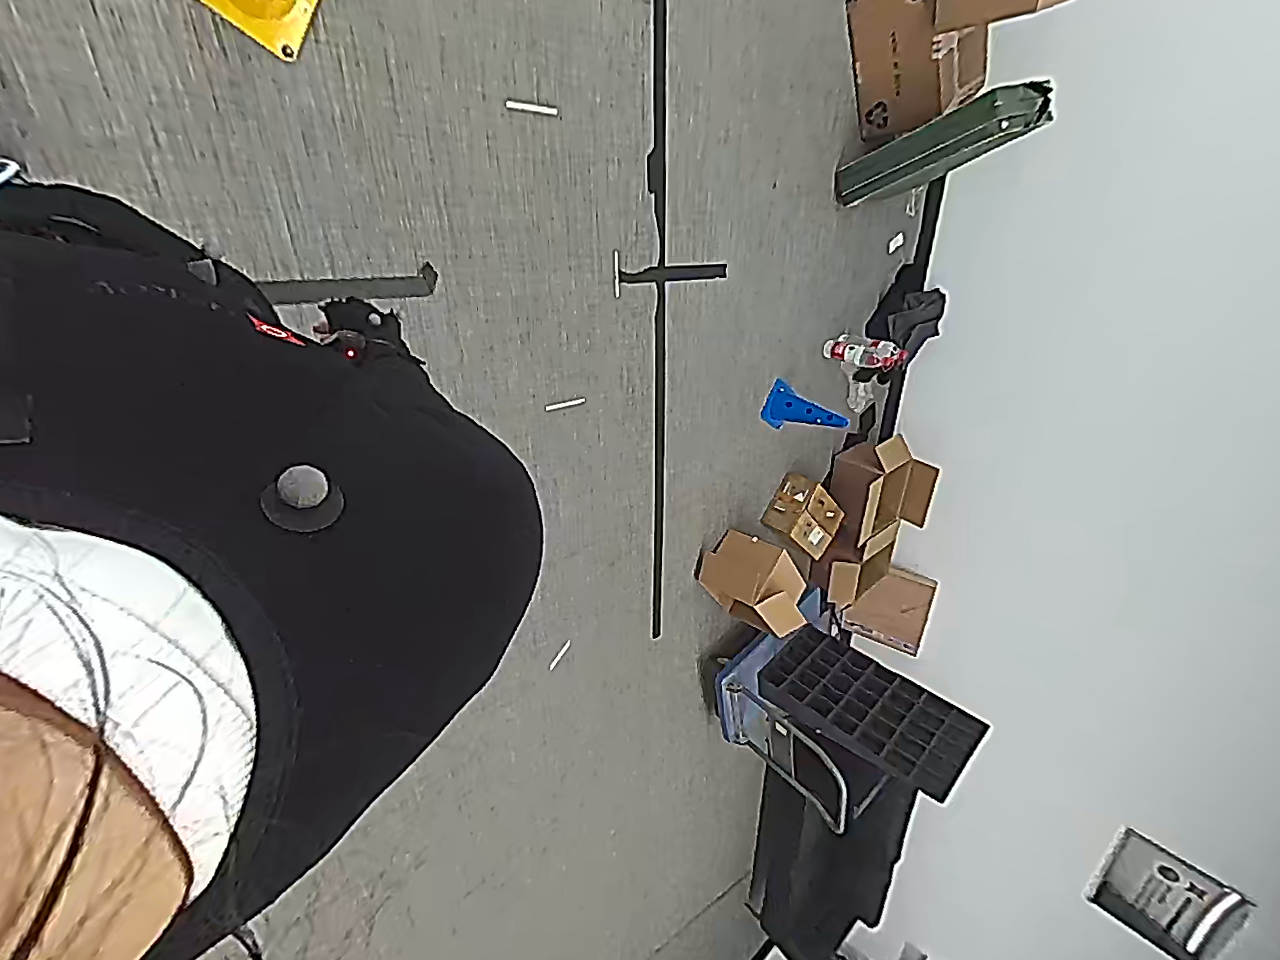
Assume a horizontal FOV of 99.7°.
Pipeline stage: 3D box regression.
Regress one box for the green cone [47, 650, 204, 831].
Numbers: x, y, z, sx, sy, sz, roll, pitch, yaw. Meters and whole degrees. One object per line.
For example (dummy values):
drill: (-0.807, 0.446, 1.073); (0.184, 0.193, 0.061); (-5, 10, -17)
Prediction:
green cone: (-1.034, 0.552, 1.096); (0.202, 0.368, 0.200); (-35, 129, -26)
